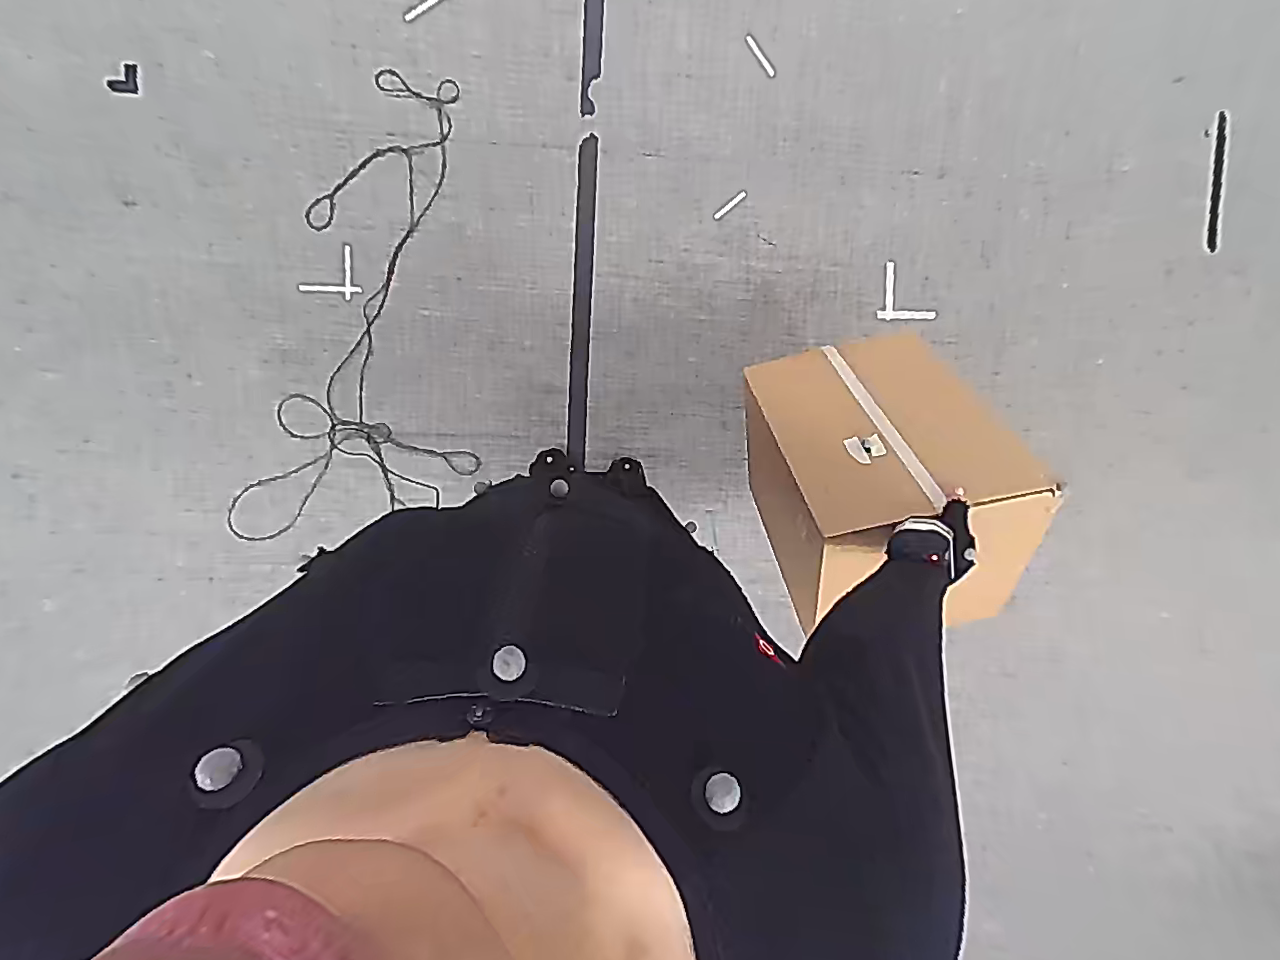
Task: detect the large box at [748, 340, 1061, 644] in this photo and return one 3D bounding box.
[{"bbox_3d":[0.397,0.013,0.950,0.320,0.408,0.320,-13,135,2],"label":"large box"}]
